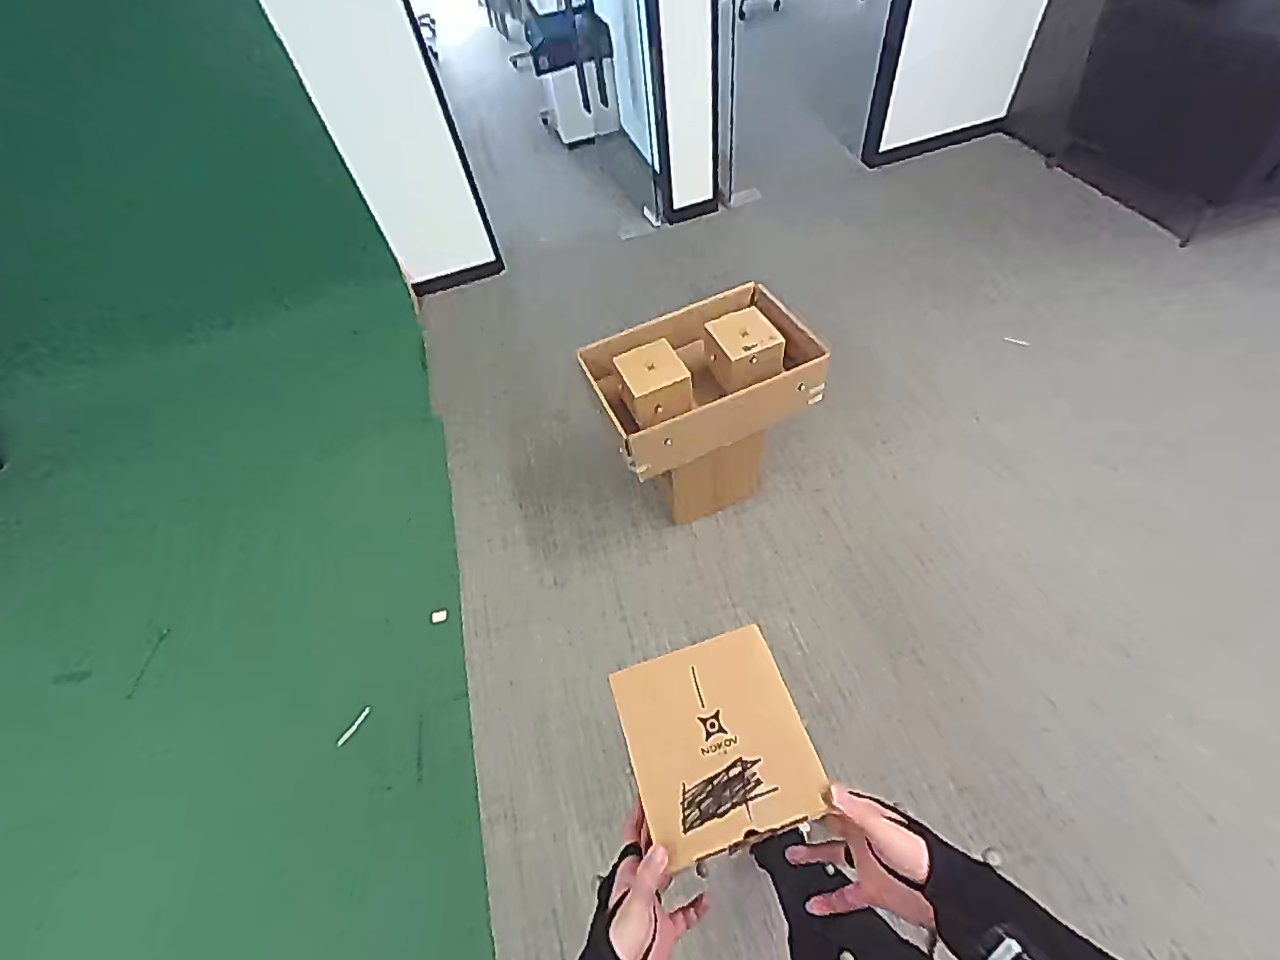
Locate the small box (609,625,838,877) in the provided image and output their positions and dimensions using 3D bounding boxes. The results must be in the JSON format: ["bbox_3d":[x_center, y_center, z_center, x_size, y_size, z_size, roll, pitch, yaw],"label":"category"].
[{"bbox_3d":[0.077,0.282,0.563,0.168,0.176,0.179,-17,54,-6],"label":"small box"}]

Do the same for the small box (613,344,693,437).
[{"bbox_3d":[0.042,-0.243,1.523,0.168,0.176,0.179,-23,54,-8],"label":"small box"}]
